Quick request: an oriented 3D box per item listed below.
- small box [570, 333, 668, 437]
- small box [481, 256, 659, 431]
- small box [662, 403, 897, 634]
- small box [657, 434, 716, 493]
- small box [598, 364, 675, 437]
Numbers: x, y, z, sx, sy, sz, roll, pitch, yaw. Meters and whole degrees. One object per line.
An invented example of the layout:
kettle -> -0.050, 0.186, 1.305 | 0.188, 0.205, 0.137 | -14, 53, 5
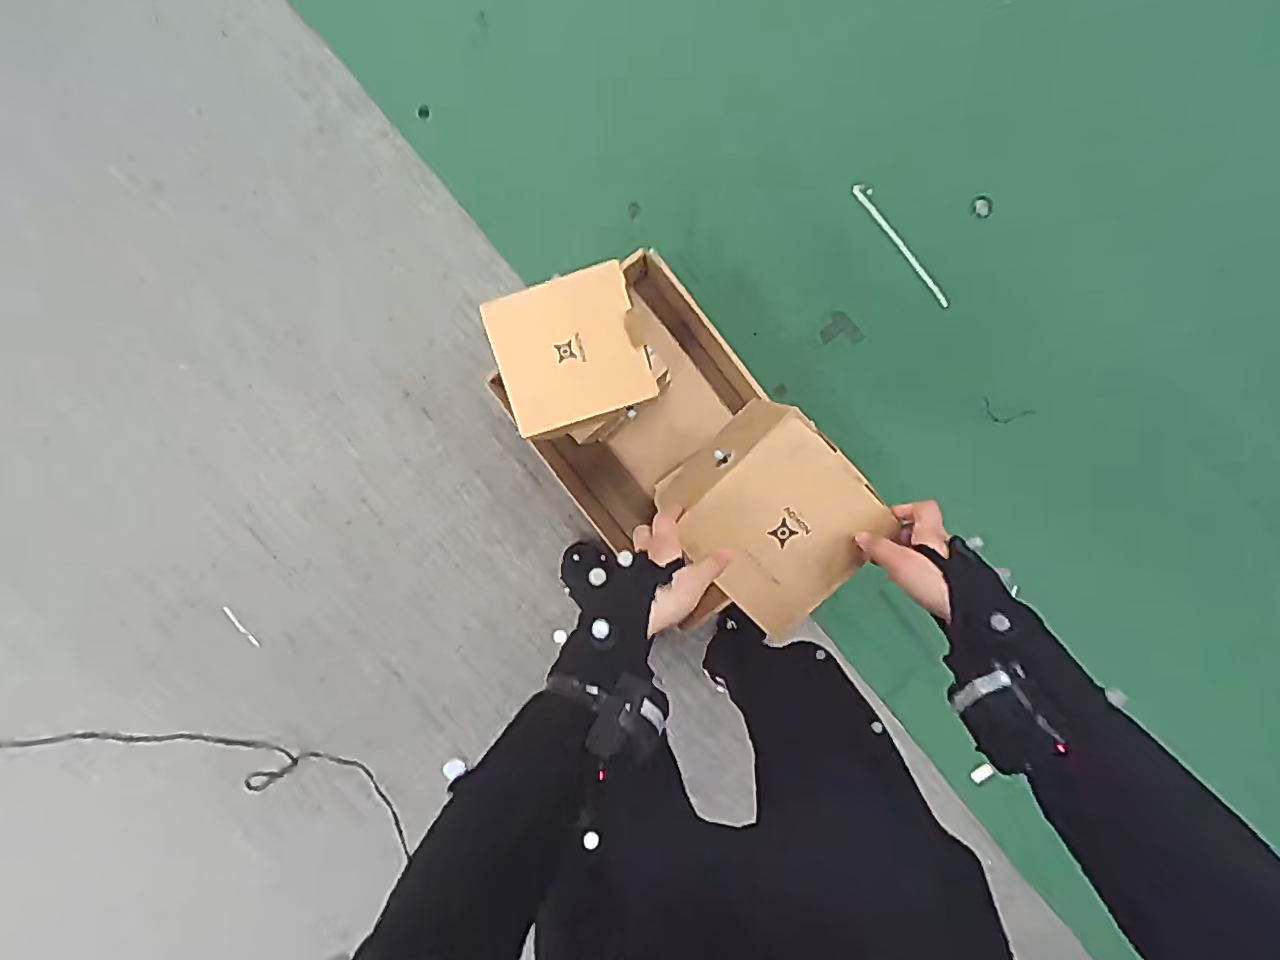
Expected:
small box -> -0.070, -0.183, 0.868 | 0.179, 0.176, 0.168 | -39, 94, 4
small box -> -0.078, -0.163, 0.707 | 0.179, 0.176, 0.168 | -17, 95, 2
small box -> 0.138, 0.029, 0.611 | 0.179, 0.176, 0.168 | -44, 99, 8
small box -> 0.145, 0.016, 1.045 | 0.179, 0.176, 0.168 | -34, 92, 4
small box -> -0.053, -0.200, 1.030 | 0.179, 0.176, 0.168 | -40, 93, 4
